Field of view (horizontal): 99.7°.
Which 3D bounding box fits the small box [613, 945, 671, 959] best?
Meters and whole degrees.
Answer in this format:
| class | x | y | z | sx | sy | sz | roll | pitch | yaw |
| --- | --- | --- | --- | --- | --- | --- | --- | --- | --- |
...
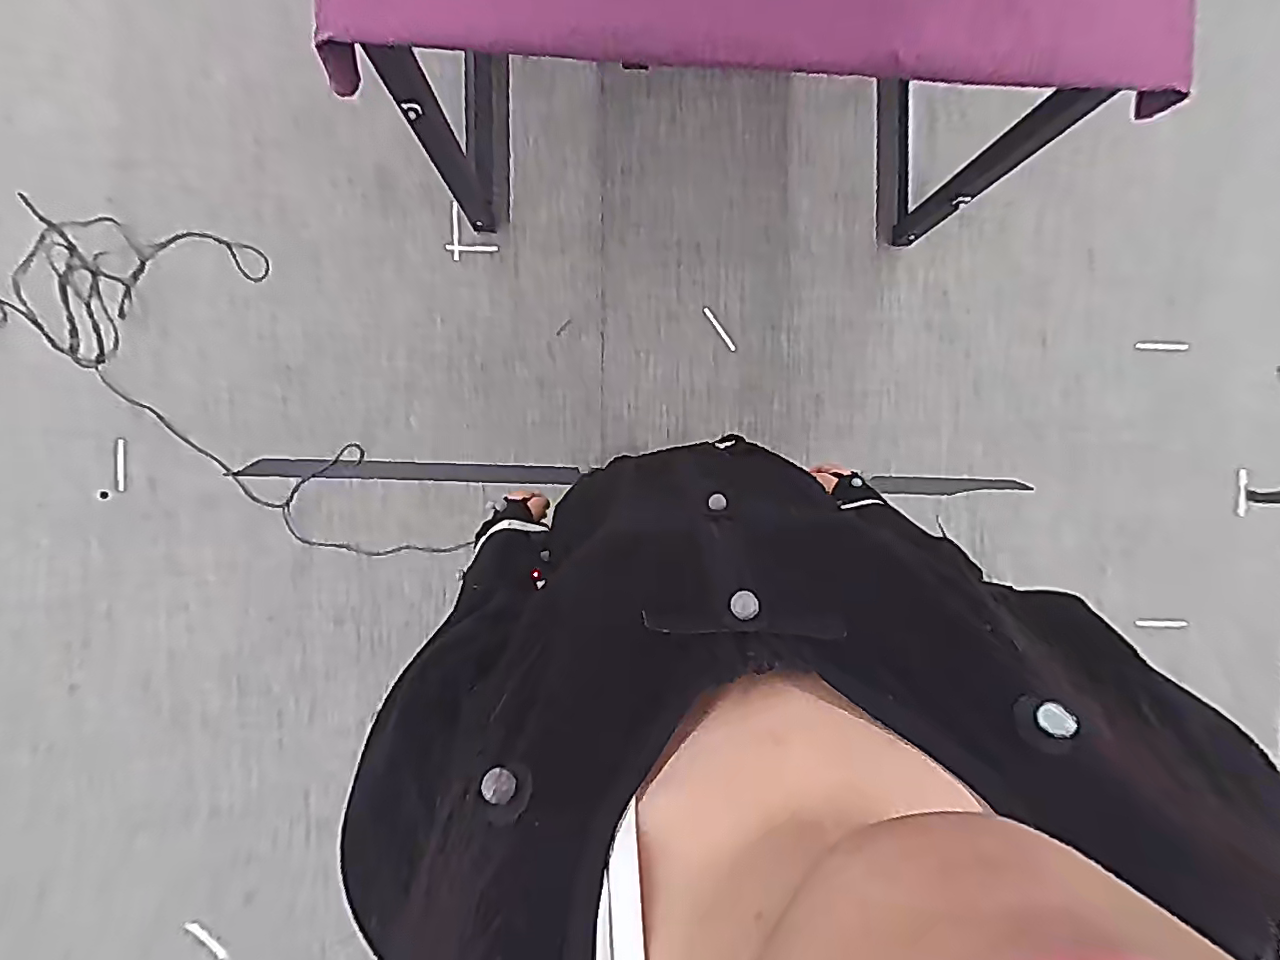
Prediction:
| class | x | y | z | sx | sy | sz | roll | pitch | yaw |
| --- | --- | --- | --- | --- | --- | --- | --- | --- | --- |
| small box | 0.011 | 1.410 | 1.467 | 0.168 | 0.176 | 0.179 | -3 | 93 | -2 |
